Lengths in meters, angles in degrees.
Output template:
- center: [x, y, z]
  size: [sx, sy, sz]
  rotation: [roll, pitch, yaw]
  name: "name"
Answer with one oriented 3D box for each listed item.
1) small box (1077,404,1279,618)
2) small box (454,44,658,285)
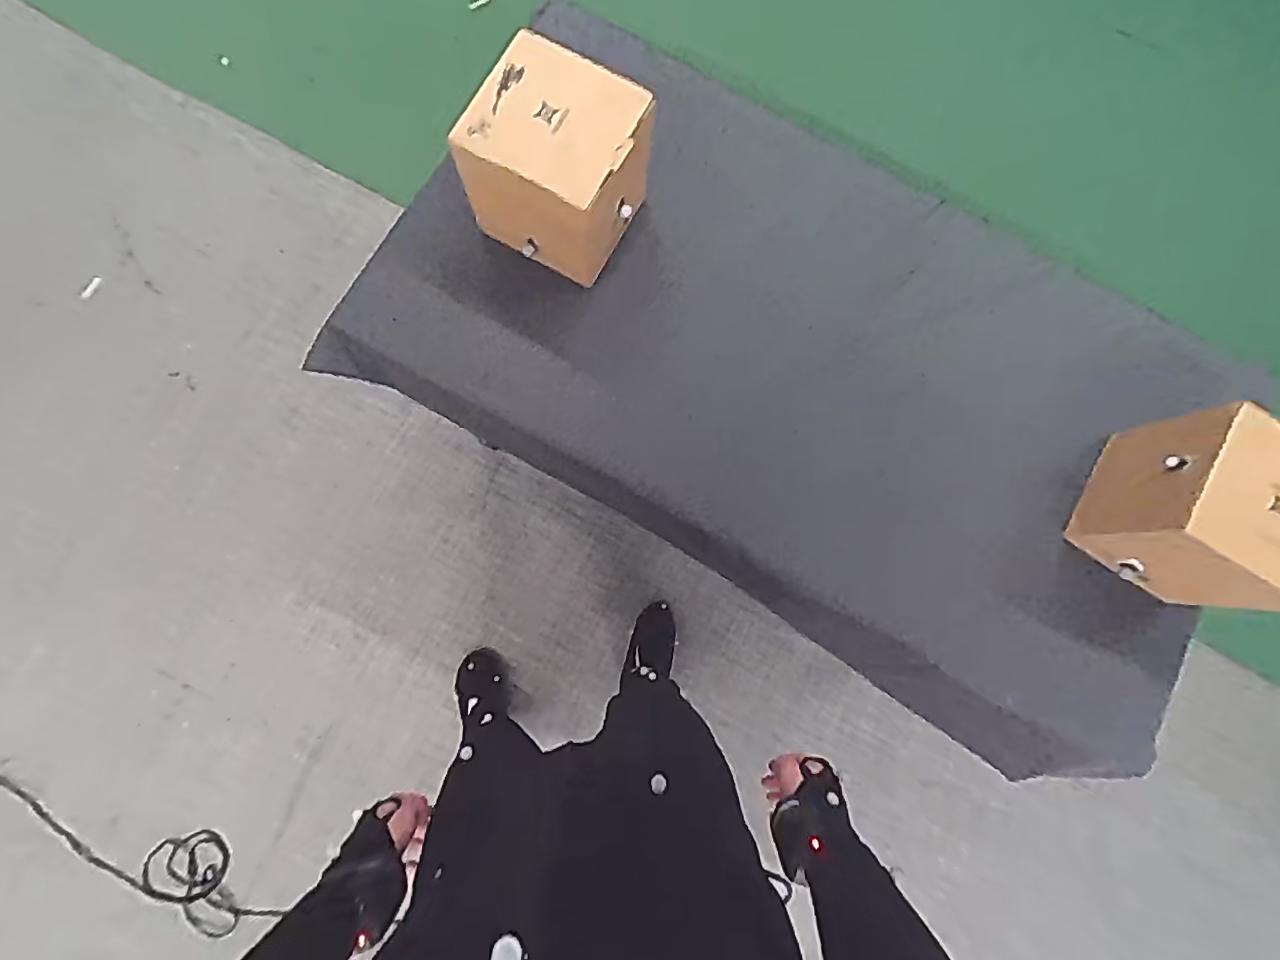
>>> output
- center: [0.684, 0.043, 0.645]
  size: [0.168, 0.176, 0.179]
  rotation: [34, 81, 5]
  name: "small box"
- center: [-0.097, -0.377, 0.684]
  size: [0.179, 0.176, 0.168]
  rotation: [28, 80, 0]
  name: "small box"
